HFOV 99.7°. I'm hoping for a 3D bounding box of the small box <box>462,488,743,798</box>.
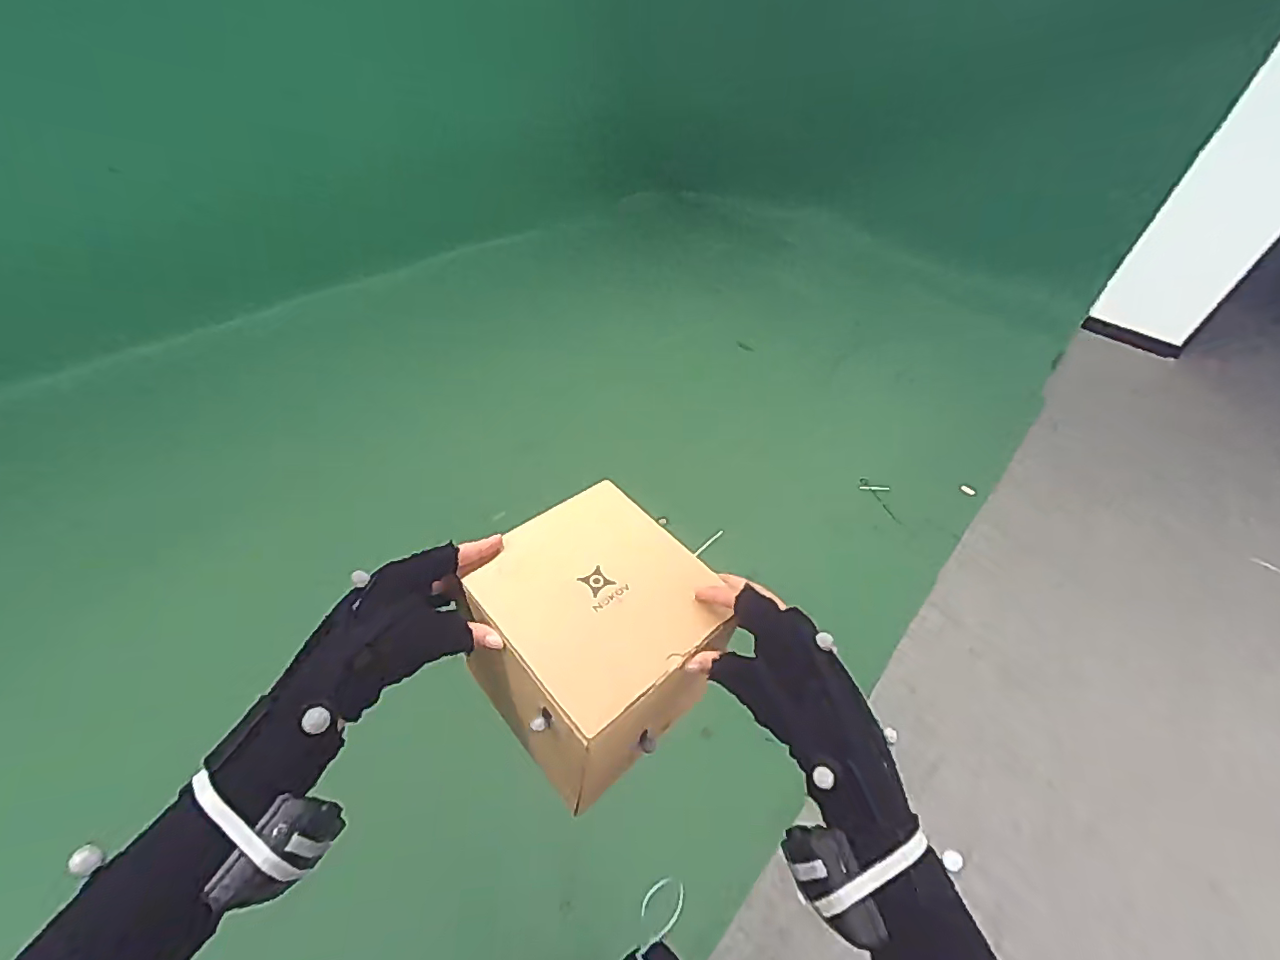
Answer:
[{"bbox_3d":[-0.043,0.145,0.493,0.168,0.176,0.179,-29,57,-34],"label":"small box"}]
